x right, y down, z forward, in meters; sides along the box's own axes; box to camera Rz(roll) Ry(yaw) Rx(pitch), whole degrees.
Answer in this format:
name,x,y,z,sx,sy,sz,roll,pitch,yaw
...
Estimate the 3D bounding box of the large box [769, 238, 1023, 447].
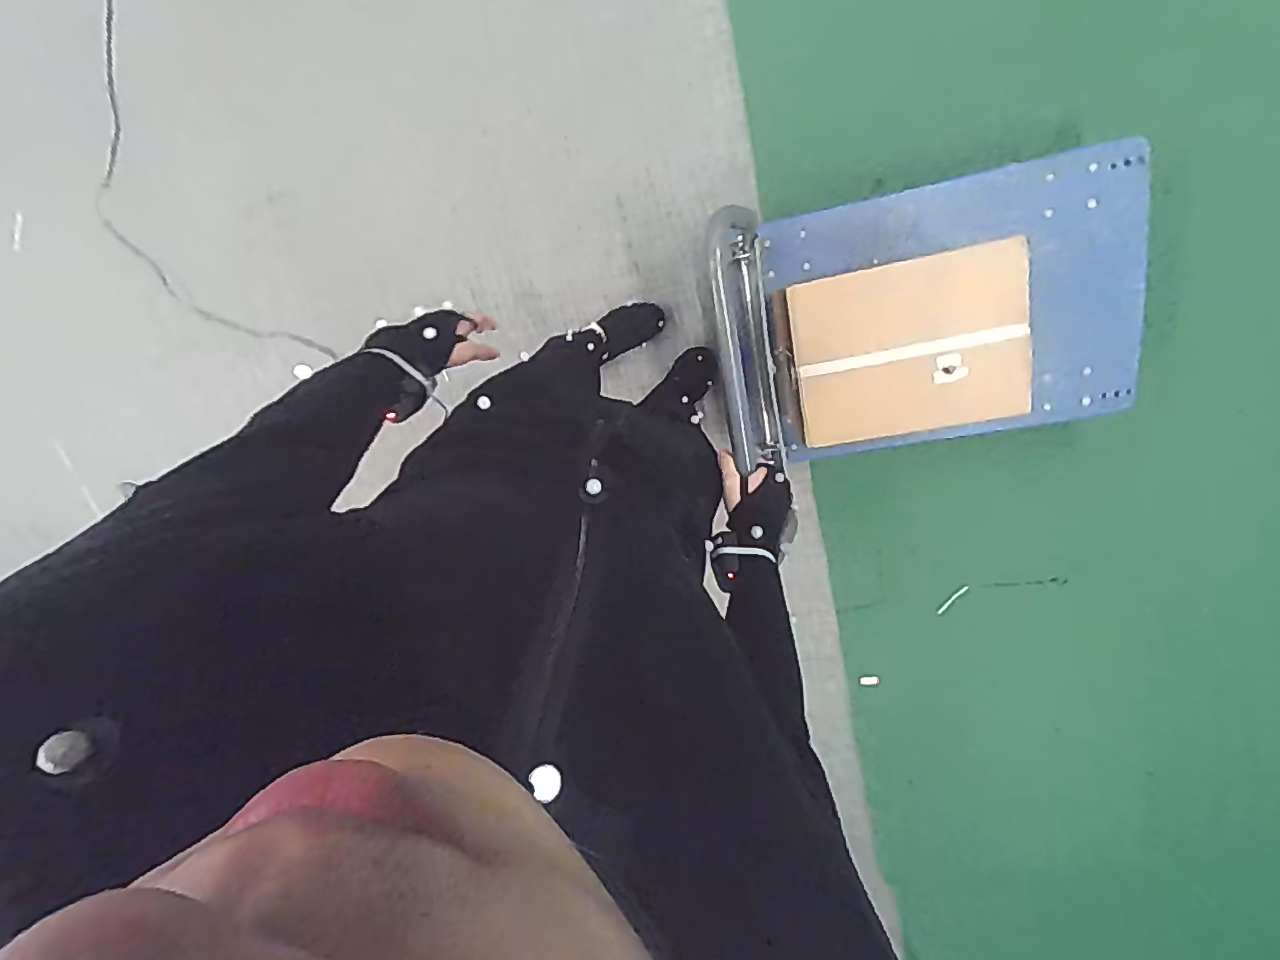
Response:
name,x,y,z,sx,sy,sz,roll,pitch,yaw
large box,0.509,-0.282,1.145,0.408,0.320,0.320,-9,106,11
